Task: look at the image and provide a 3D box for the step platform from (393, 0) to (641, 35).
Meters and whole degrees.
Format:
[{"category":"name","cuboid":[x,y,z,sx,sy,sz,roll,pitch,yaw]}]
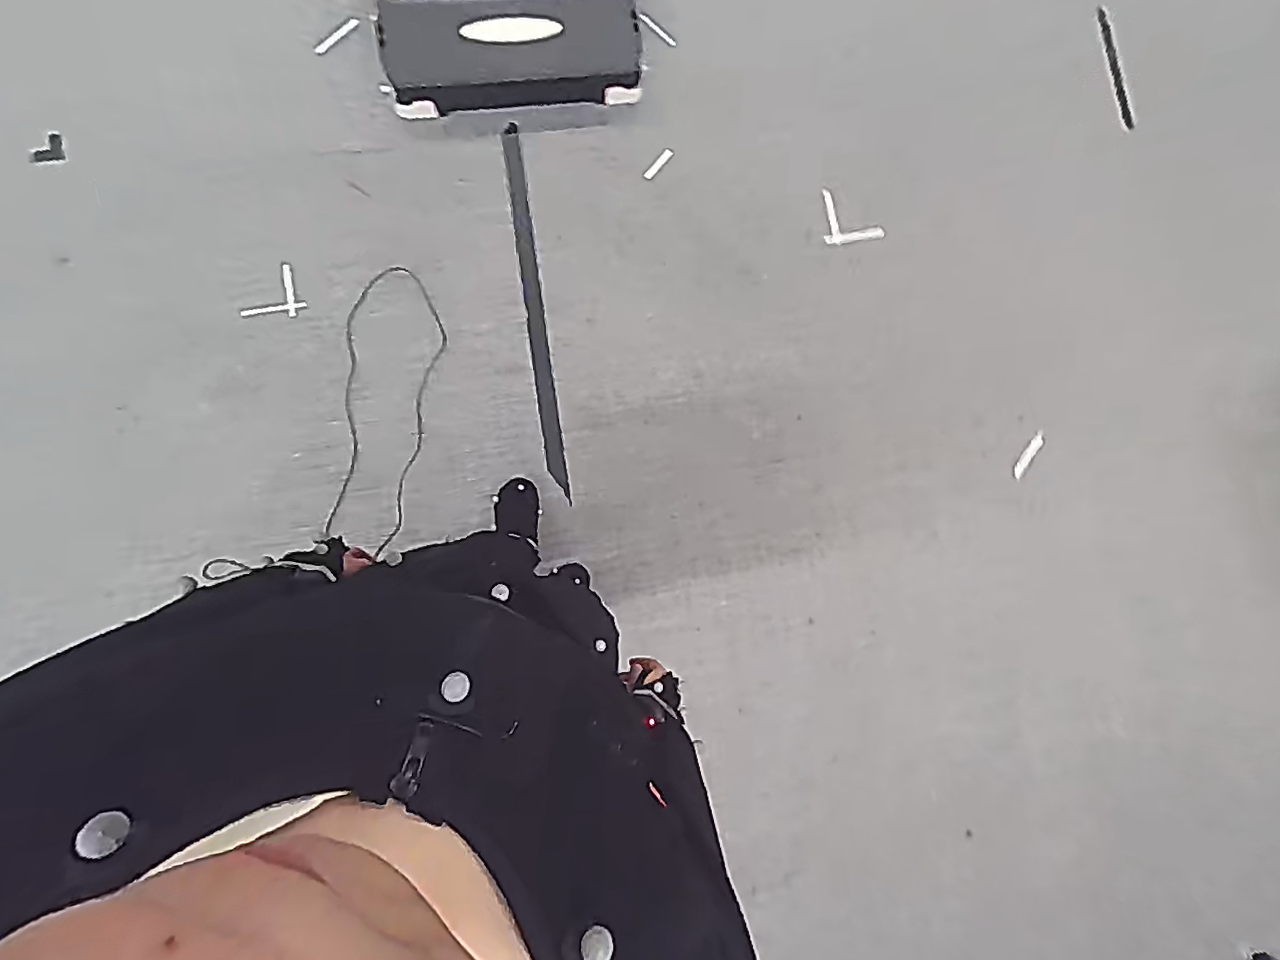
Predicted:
[{"category":"step platform","cuboid":[-0.330,-1.397,1.433,0.684,0.204,0.286,-4,85,-6]}]
